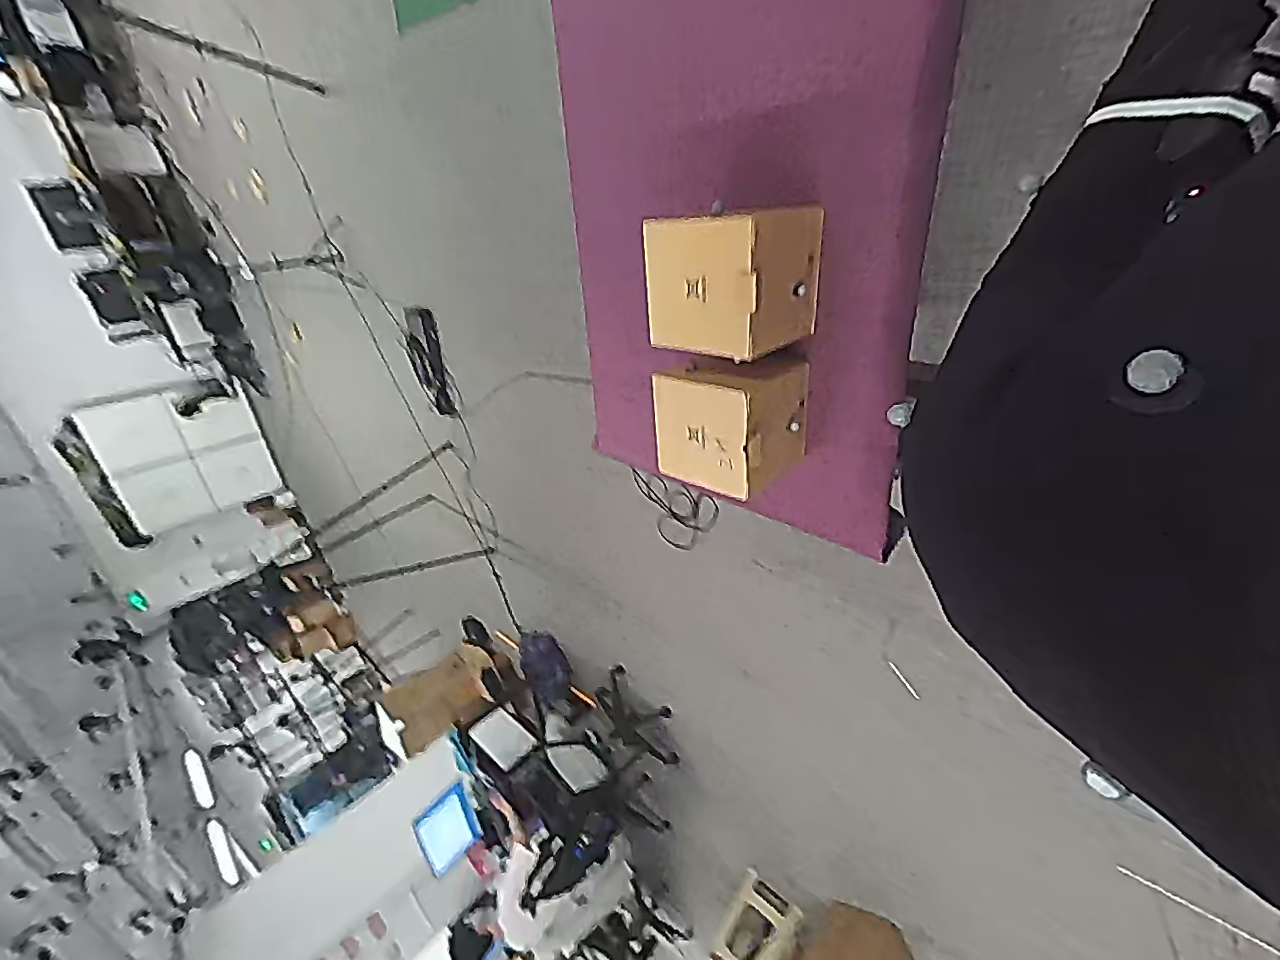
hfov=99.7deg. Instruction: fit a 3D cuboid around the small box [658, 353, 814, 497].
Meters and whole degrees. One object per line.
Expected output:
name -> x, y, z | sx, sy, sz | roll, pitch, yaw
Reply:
small box -> 0.149, -0.098, 0.855 | 0.179, 0.176, 0.168 | 20, 126, 40
